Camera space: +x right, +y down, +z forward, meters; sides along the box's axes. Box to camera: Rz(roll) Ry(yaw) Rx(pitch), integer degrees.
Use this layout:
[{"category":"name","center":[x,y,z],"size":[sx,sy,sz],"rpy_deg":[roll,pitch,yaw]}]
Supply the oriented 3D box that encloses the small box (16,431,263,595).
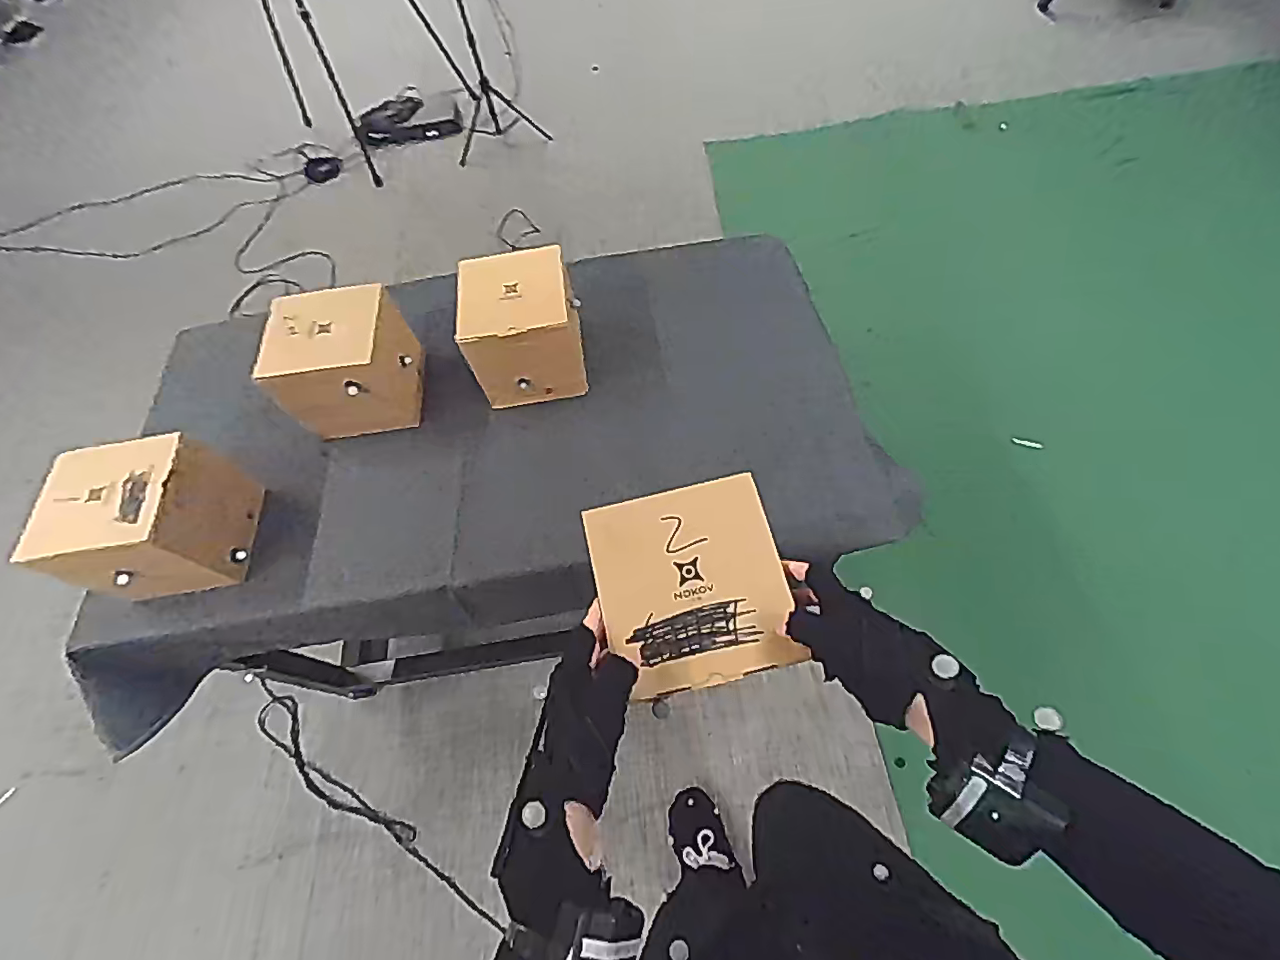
[{"category":"small box","center":[-0.685,0.053,0.770],"size":[0.179,0.176,0.168],"rpy_deg":[-9,61,1]}]

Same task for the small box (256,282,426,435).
[{"category":"small box","center":[-0.469,-0.192,0.882],"size":[0.179,0.176,0.168],"rpy_deg":[-8,62,1]}]

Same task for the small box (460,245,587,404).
[{"category":"small box","center":[-0.186,-0.251,0.892],"size":[0.168,0.176,0.179],"rpy_deg":[-9,62,0]}]
